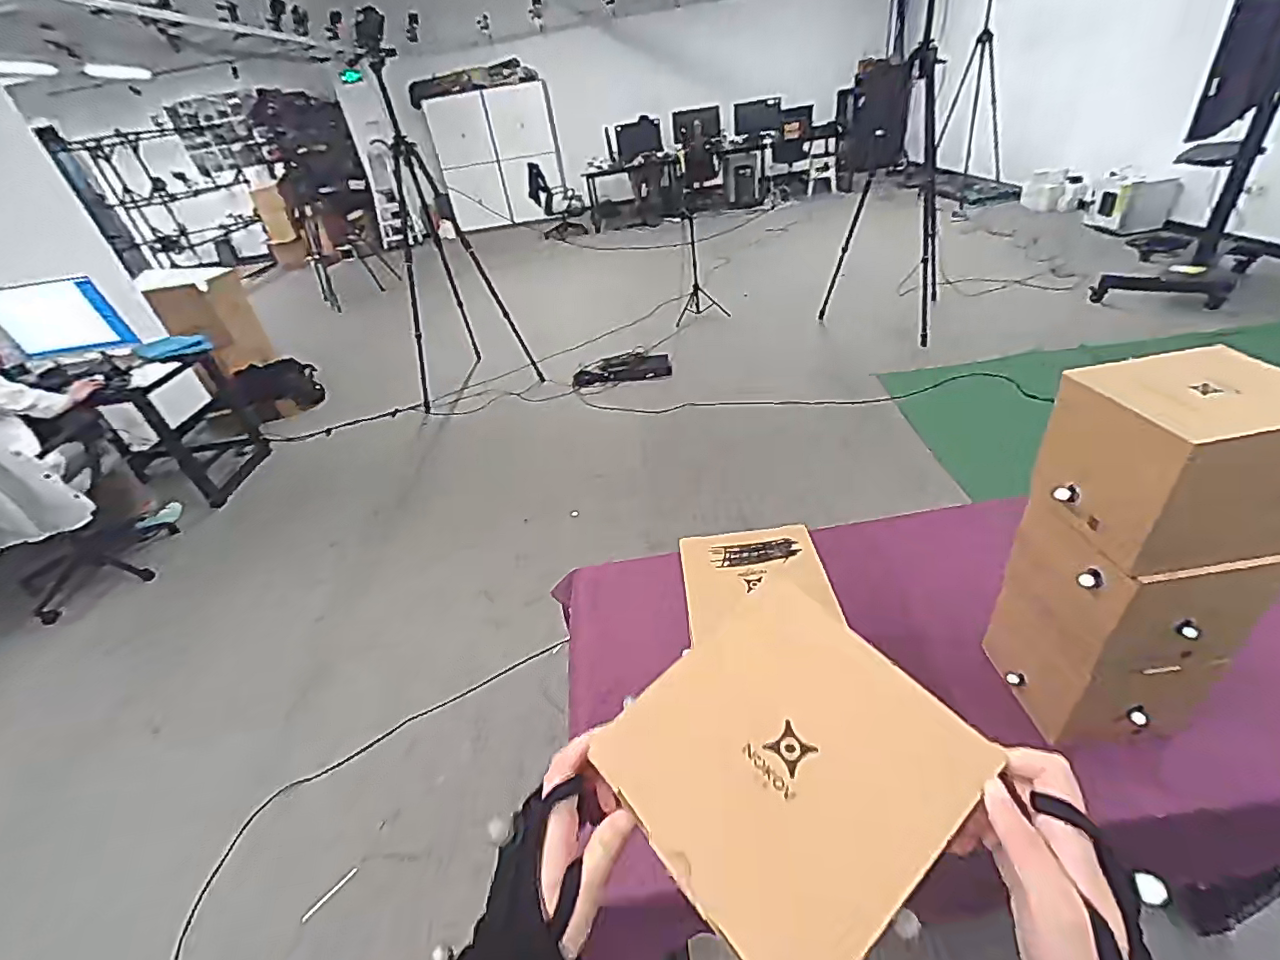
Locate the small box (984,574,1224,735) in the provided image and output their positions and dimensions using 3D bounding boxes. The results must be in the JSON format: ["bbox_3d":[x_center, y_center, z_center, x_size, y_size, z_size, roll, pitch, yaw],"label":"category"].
[{"bbox_3d":[0.631,0.240,0.767,0.168,0.176,0.179,-8,36,2],"label":"small box"}]

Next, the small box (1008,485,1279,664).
[{"bbox_3d":[0.604,0.108,0.670,0.168,0.176,0.179,-9,35,1],"label":"small box"}]

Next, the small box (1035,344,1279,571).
[{"bbox_3d":[0.576,-0.025,0.580,0.179,0.176,0.168,-10,34,2],"label":"small box"}]
